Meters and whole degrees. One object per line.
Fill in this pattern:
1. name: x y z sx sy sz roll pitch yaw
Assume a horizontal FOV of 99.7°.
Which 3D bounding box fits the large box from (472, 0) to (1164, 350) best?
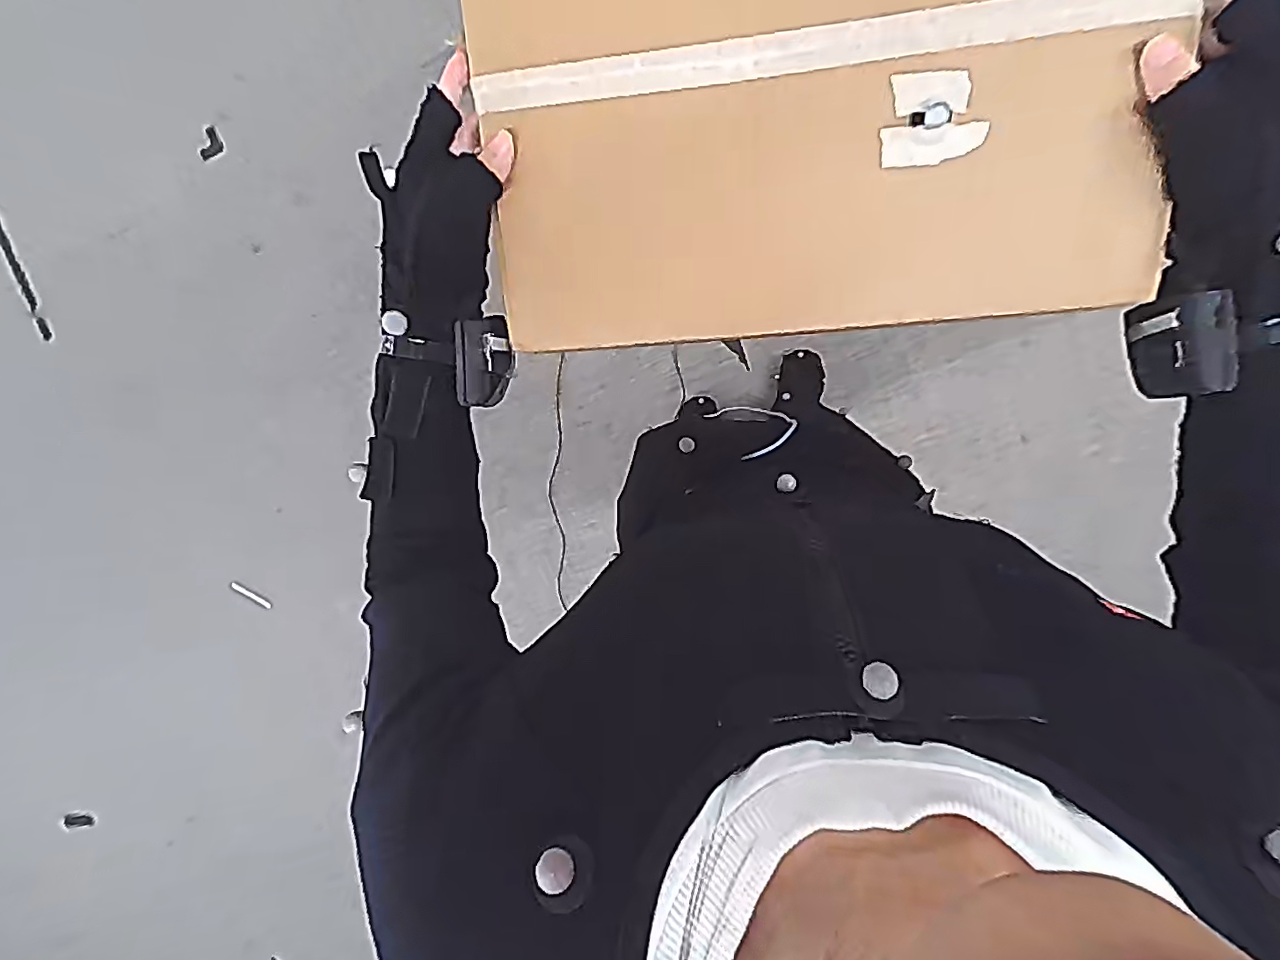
1. large box: 0.109 -0.294 0.468 0.408 0.320 0.320 -4 105 6
